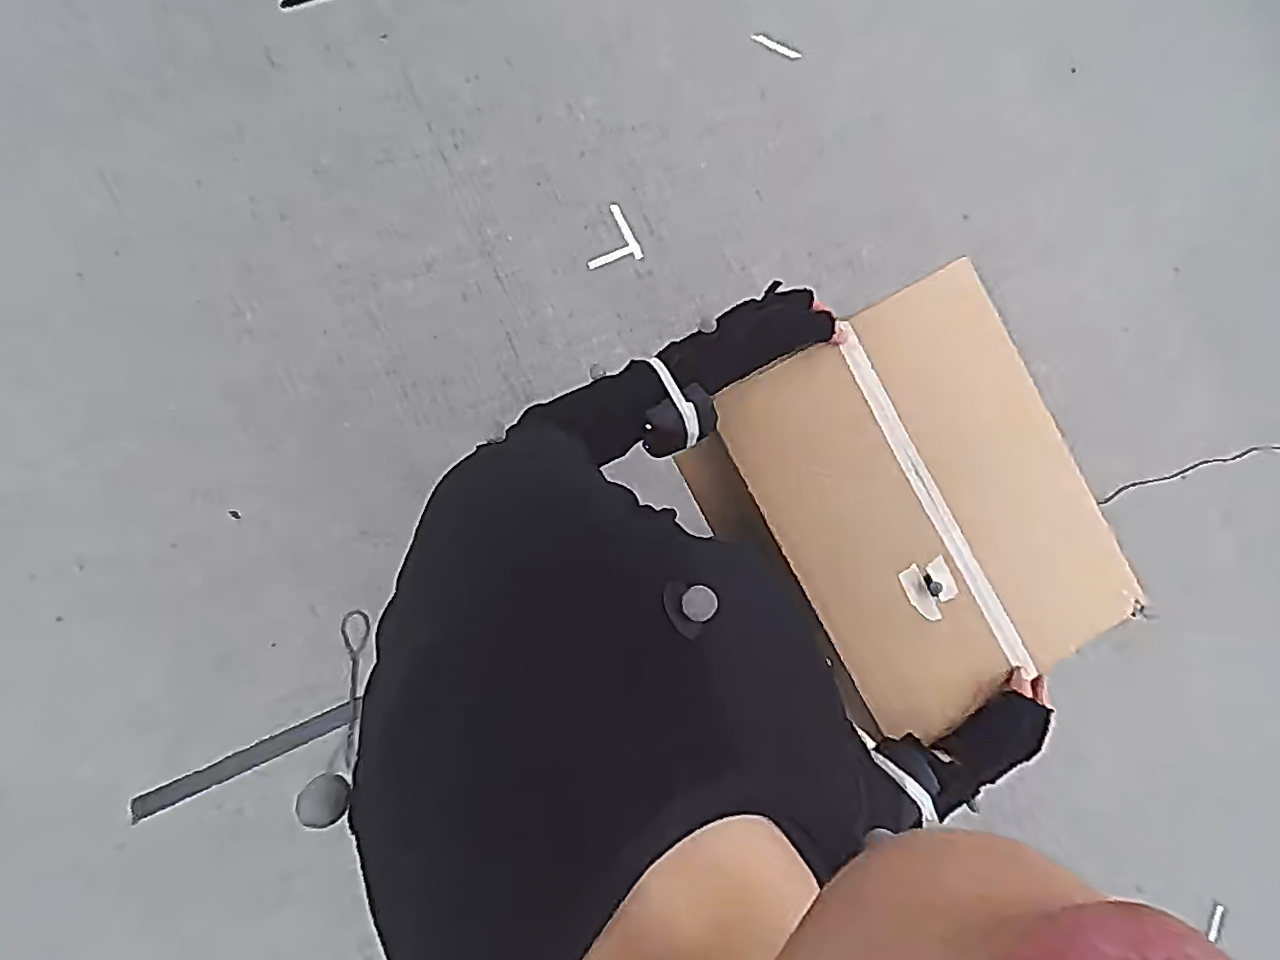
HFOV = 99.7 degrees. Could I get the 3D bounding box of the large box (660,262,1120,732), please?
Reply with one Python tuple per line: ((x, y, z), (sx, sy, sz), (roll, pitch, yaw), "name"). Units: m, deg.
((0.272, 0.015, 0.703), (0.320, 0.320, 0.408), (-29, 93, -5), "large box")
